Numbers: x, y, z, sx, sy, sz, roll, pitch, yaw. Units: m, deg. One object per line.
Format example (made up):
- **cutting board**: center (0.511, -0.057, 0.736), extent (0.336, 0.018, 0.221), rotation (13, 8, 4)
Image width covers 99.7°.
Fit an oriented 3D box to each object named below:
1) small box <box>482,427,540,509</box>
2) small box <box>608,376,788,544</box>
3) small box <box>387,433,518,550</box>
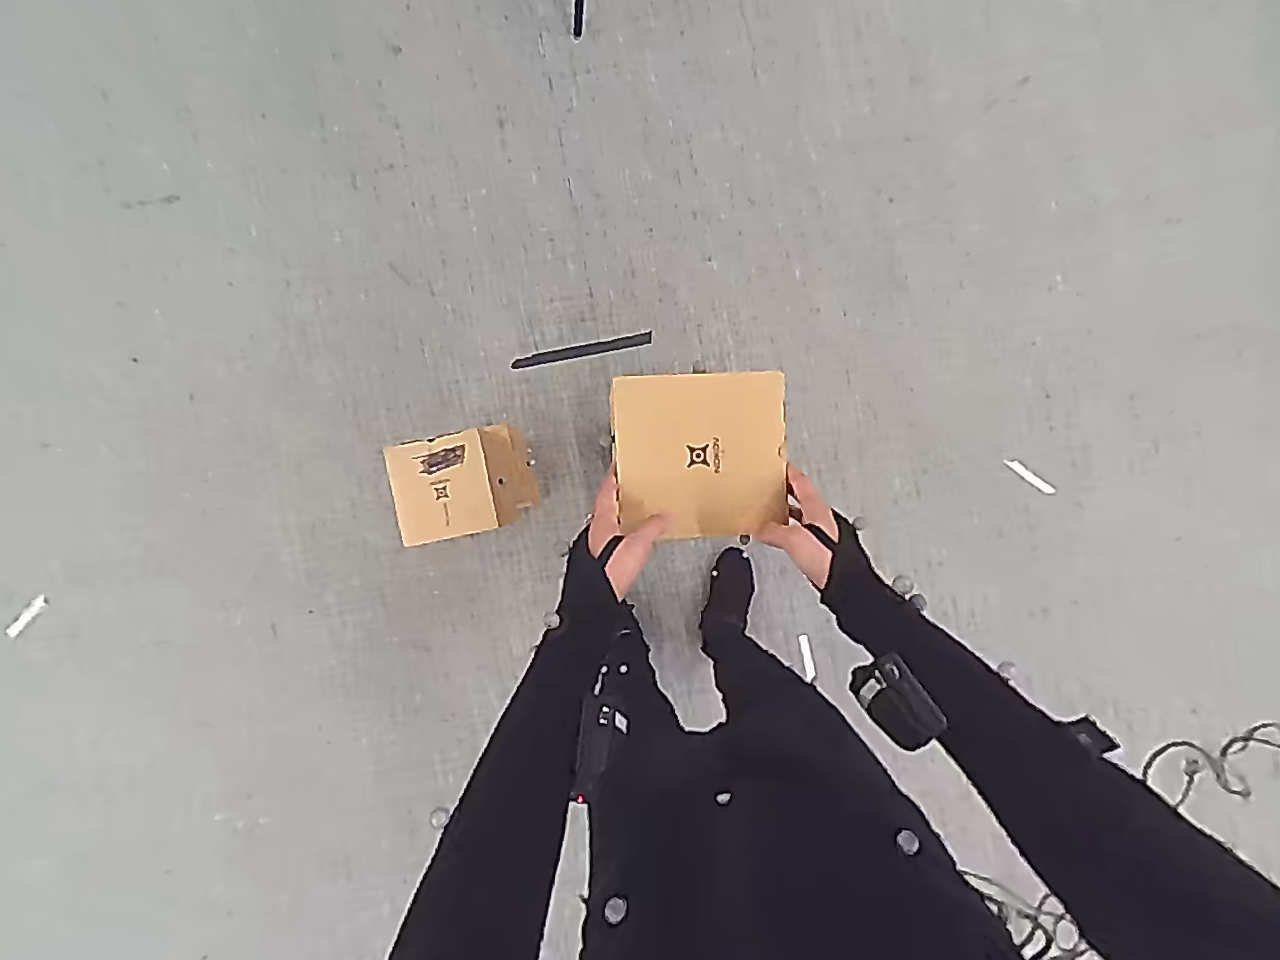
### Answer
- **small box**: center (-0.328, -0.006, 1.153), extent (0.179, 0.176, 0.168), rotation (-16, 90, -2)
- **small box**: center (0.054, -0.022, 0.612), extent (0.179, 0.176, 0.168), rotation (-3, 93, -5)
- **small box**: center (-0.333, 0.020, 0.989), extent (0.168, 0.176, 0.179), rotation (-12, 91, -1)
